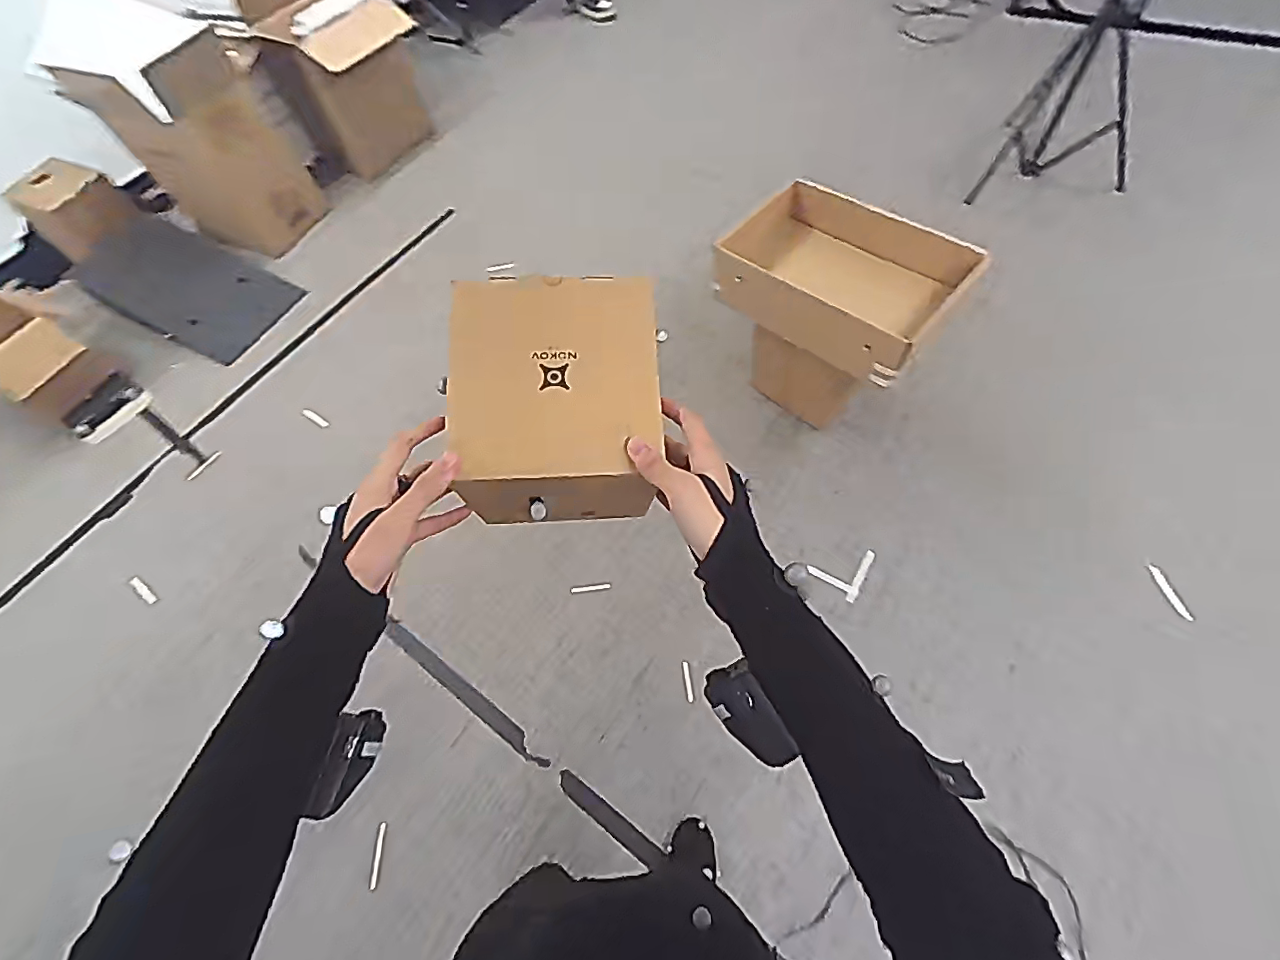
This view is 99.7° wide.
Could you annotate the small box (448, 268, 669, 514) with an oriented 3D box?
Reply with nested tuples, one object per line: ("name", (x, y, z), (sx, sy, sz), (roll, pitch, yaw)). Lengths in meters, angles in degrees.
("small box", (-0.066, -0.067, 0.494), (0.168, 0.176, 0.179), (-2, 73, -5))
